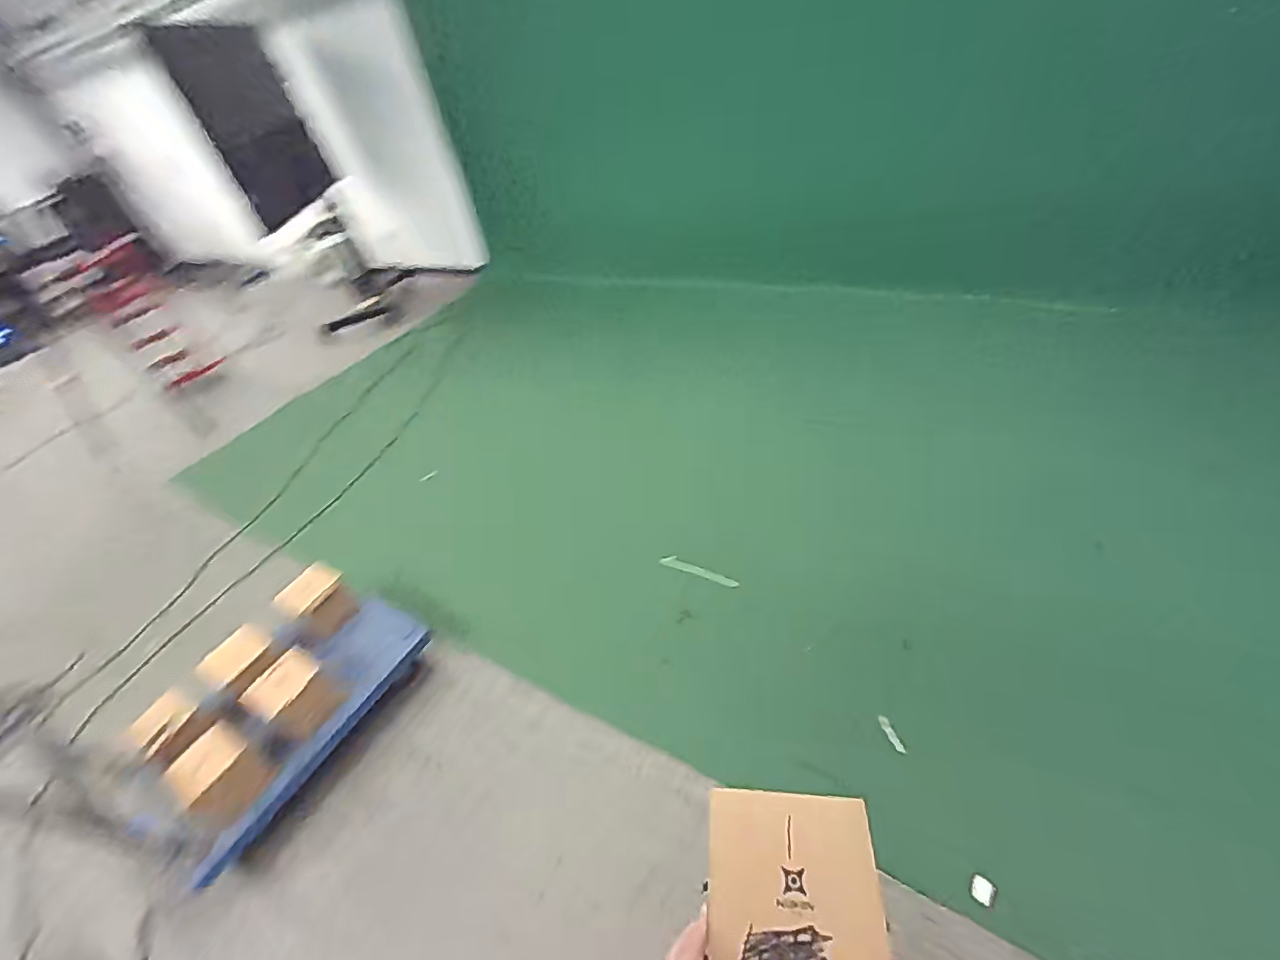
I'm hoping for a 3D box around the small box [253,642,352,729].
[{"bbox_3d":[-1.049,0.651,1.697,0.179,0.176,0.168,17,49,30],"label":"small box"}]

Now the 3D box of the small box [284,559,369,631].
[{"bbox_3d":[-1.140,0.422,1.976,0.179,0.176,0.168,16,50,29],"label":"small box"}]

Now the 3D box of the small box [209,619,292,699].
[{"bbox_3d":[-1.280,0.605,1.818,0.179,0.176,0.168,17,50,29],"label":"small box"}]

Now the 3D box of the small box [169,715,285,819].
[{"bbox_3d":[-1.172,0.822,1.543,0.168,0.176,0.179,18,49,31],"label":"small box"}]

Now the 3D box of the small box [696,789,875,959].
[{"bbox_3d":[0.147,0.466,0.596,0.168,0.176,0.179,0,44,5],"label":"small box"}]
